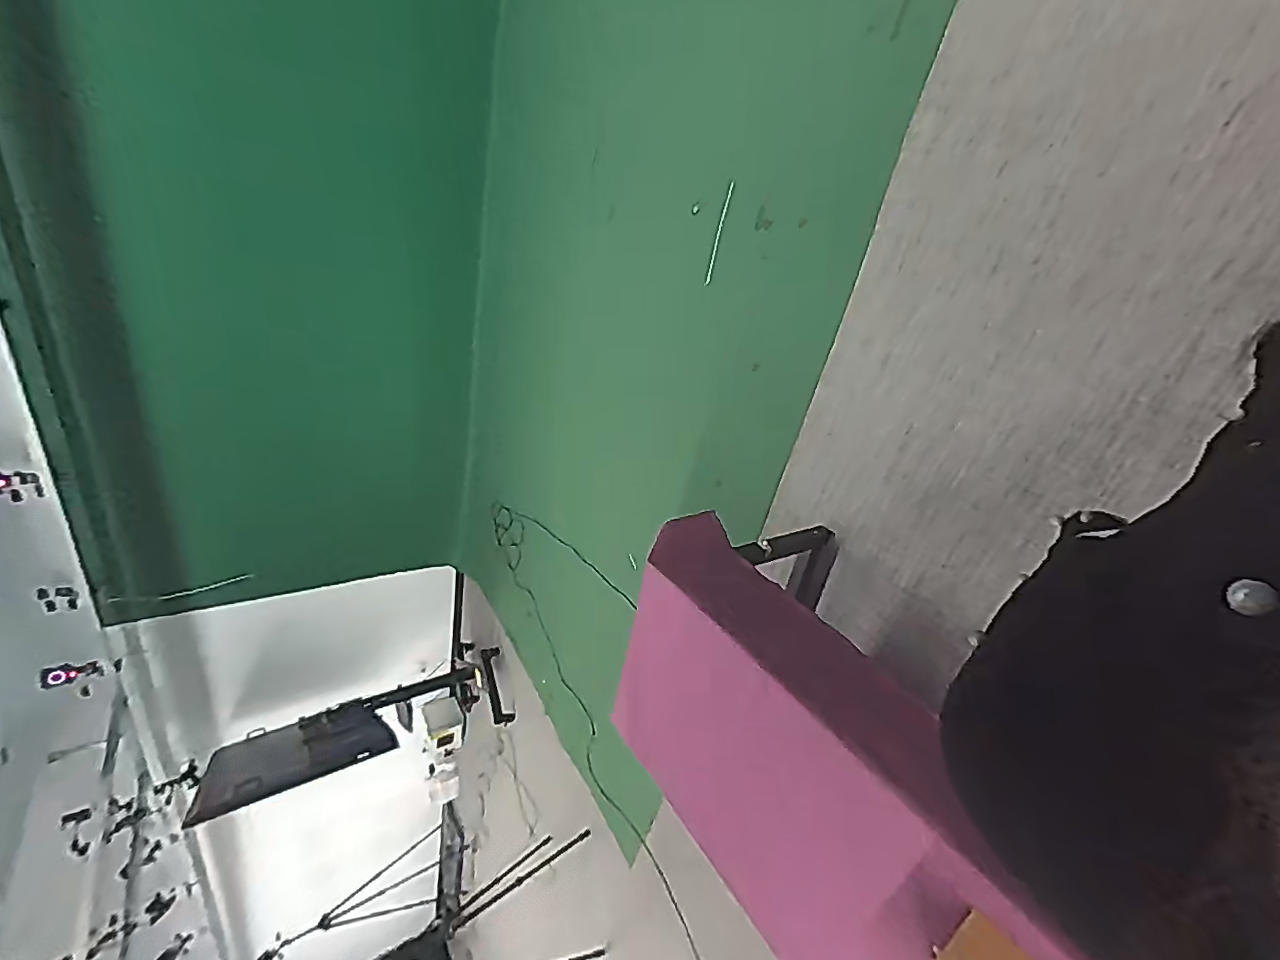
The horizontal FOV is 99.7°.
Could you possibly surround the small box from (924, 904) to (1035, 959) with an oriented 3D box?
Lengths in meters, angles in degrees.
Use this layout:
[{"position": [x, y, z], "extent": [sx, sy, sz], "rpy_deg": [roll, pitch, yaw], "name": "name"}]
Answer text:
[{"position": [0.480, 0.752, 0.746], "extent": [0.179, 0.176, 0.168], "rpy_deg": [39, 127, 45], "name": "small box"}]
